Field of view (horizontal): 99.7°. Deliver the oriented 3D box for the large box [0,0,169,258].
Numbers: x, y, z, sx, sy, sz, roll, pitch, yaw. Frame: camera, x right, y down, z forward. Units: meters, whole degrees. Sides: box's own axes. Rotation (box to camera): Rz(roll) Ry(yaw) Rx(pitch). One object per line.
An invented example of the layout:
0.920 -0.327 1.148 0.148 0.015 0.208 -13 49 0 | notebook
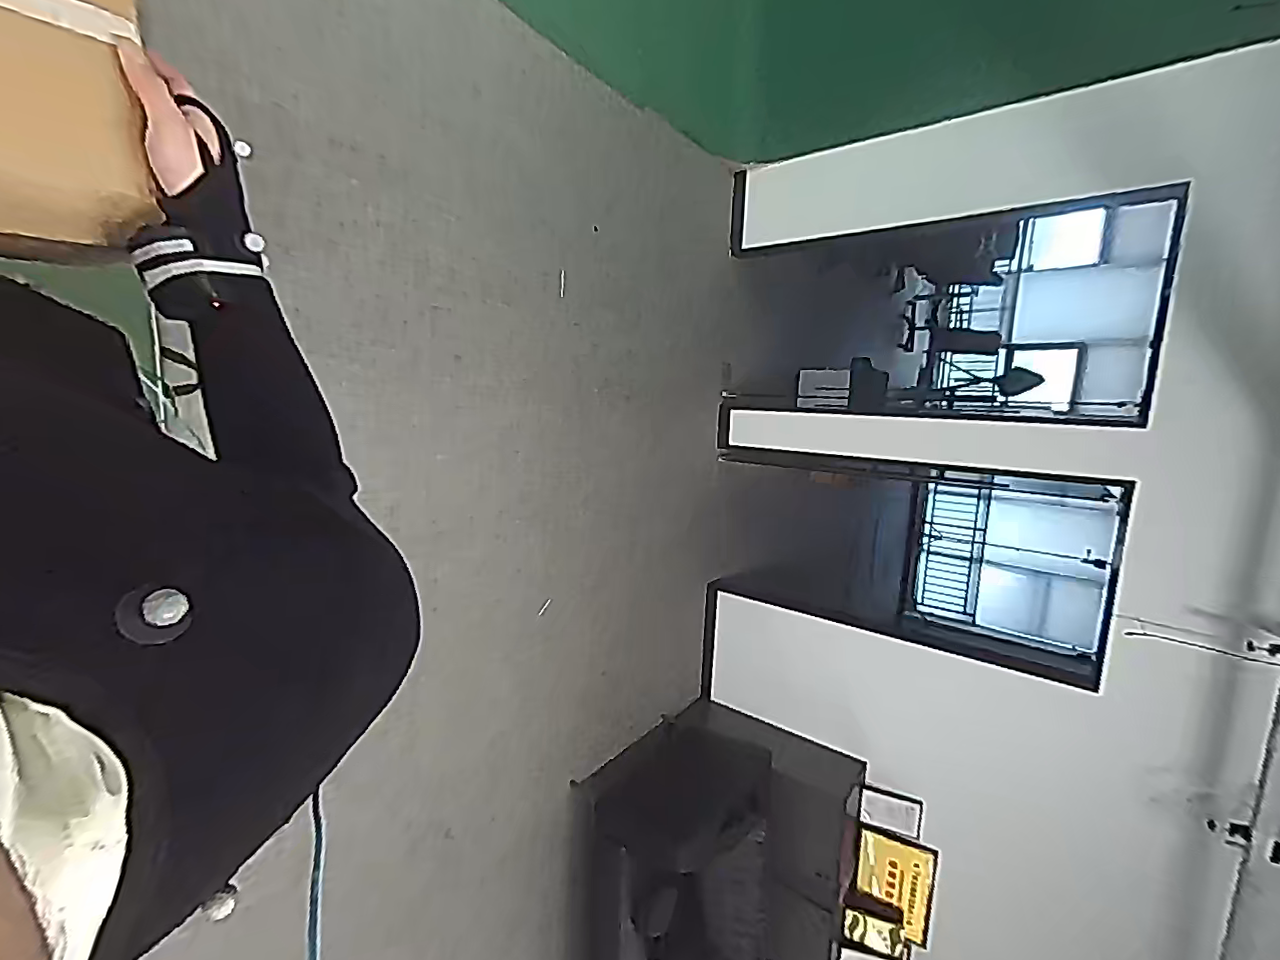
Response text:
-0.642 -0.351 0.370 0.408 0.320 0.320 -14 112 -50 | large box
